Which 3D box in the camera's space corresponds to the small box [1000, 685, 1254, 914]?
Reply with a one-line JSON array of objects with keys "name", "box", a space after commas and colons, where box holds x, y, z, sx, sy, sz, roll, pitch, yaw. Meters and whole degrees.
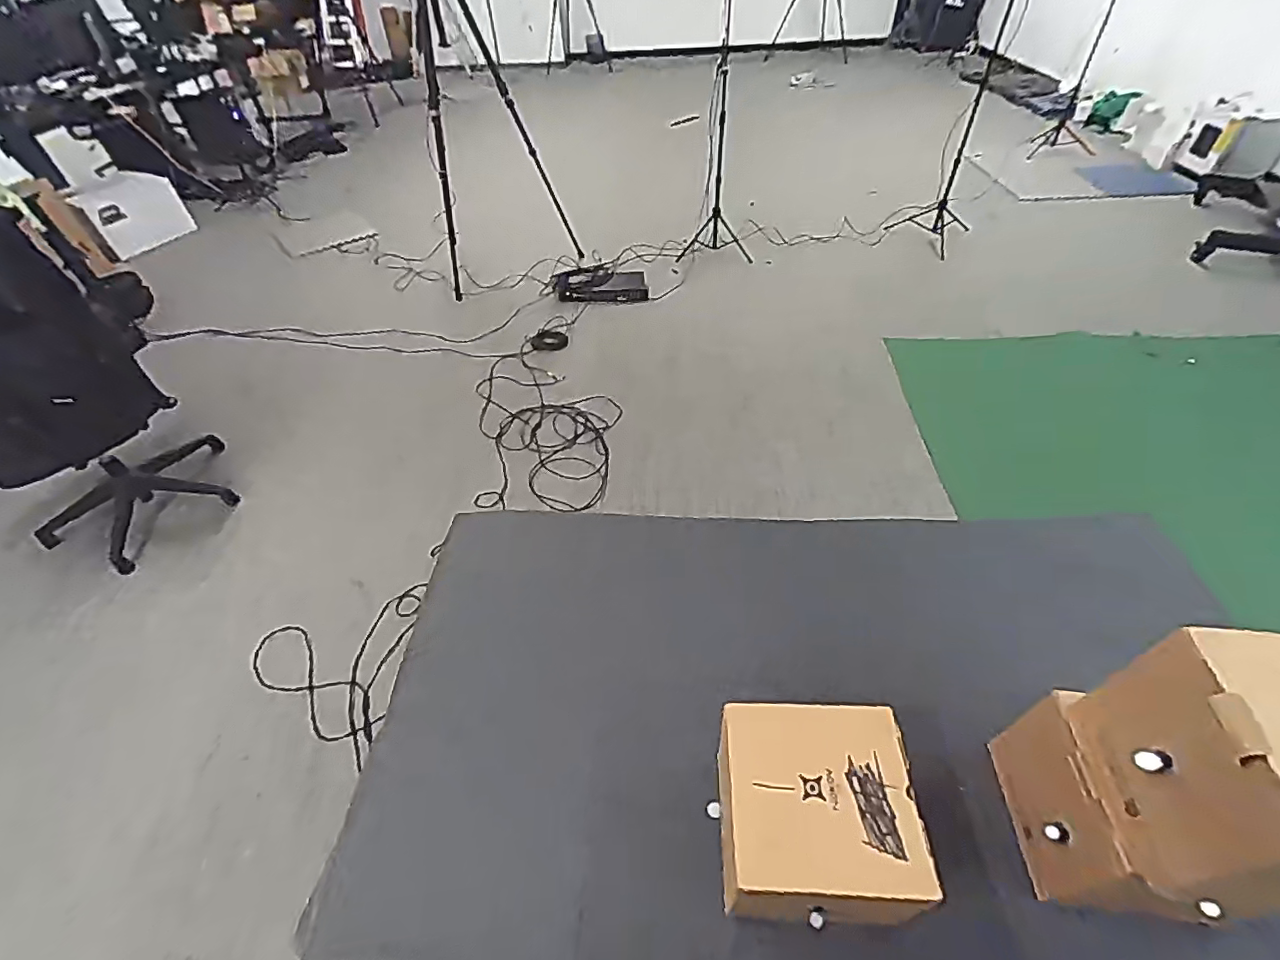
[{"name": "small box", "box": [0.512, 0.333, 0.562, 0.179, 0.176, 0.168, 3, 47, 5]}]

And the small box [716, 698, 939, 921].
[{"name": "small box", "box": [0.173, 0.346, 0.567, 0.179, 0.176, 0.168, -1, 45, 5]}]

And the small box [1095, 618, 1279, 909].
[{"name": "small box", "box": [0.516, 0.232, 0.431, 0.179, 0.176, 0.168, 4, 47, 8]}]
